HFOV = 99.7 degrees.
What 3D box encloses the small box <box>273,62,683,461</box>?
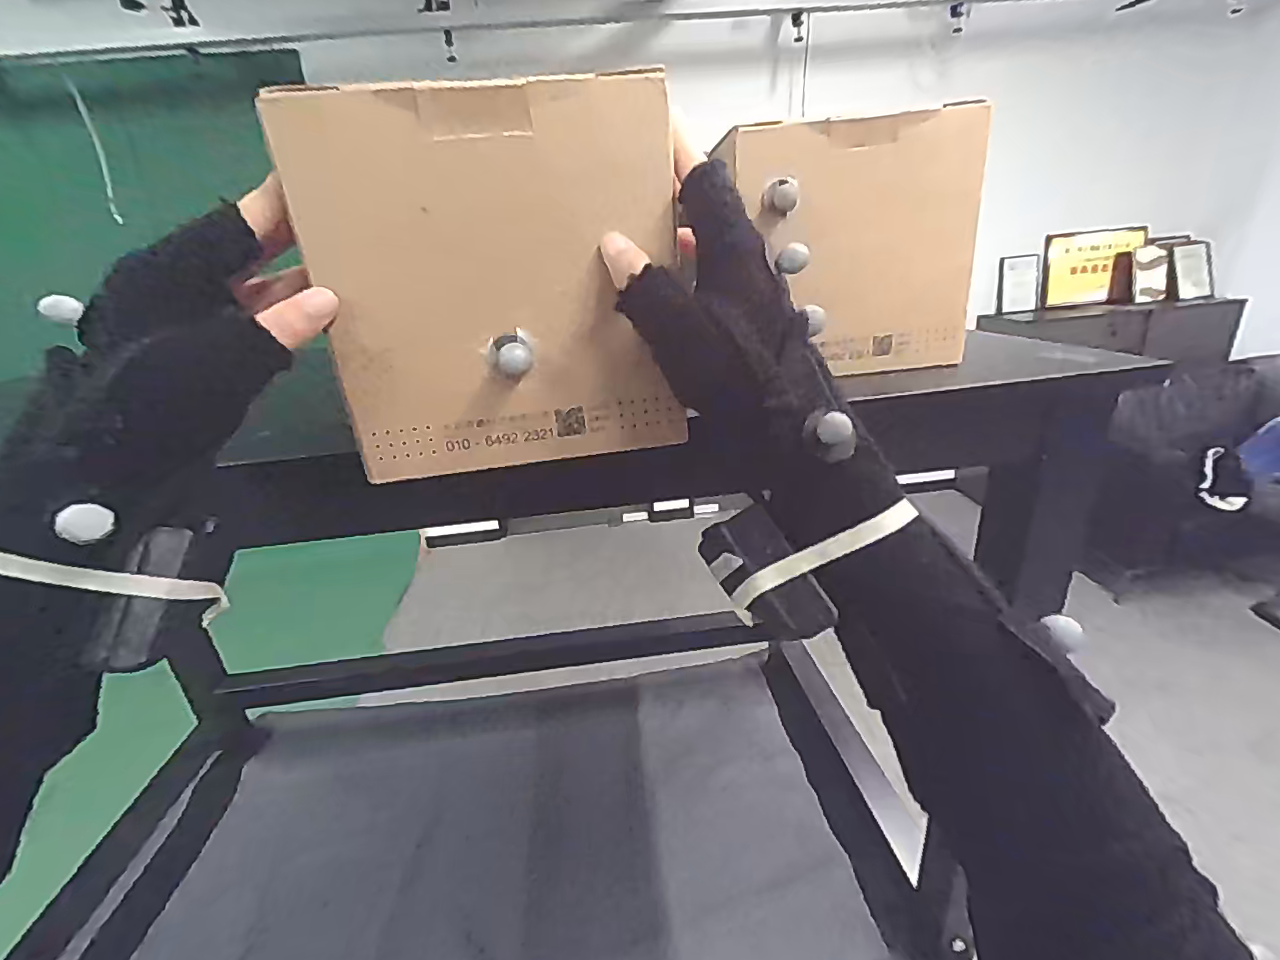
[{"bbox_3d":[-0.073,-0.121,0.329,0.168,0.176,0.179,-8,22,-6],"label":"small box"}]
